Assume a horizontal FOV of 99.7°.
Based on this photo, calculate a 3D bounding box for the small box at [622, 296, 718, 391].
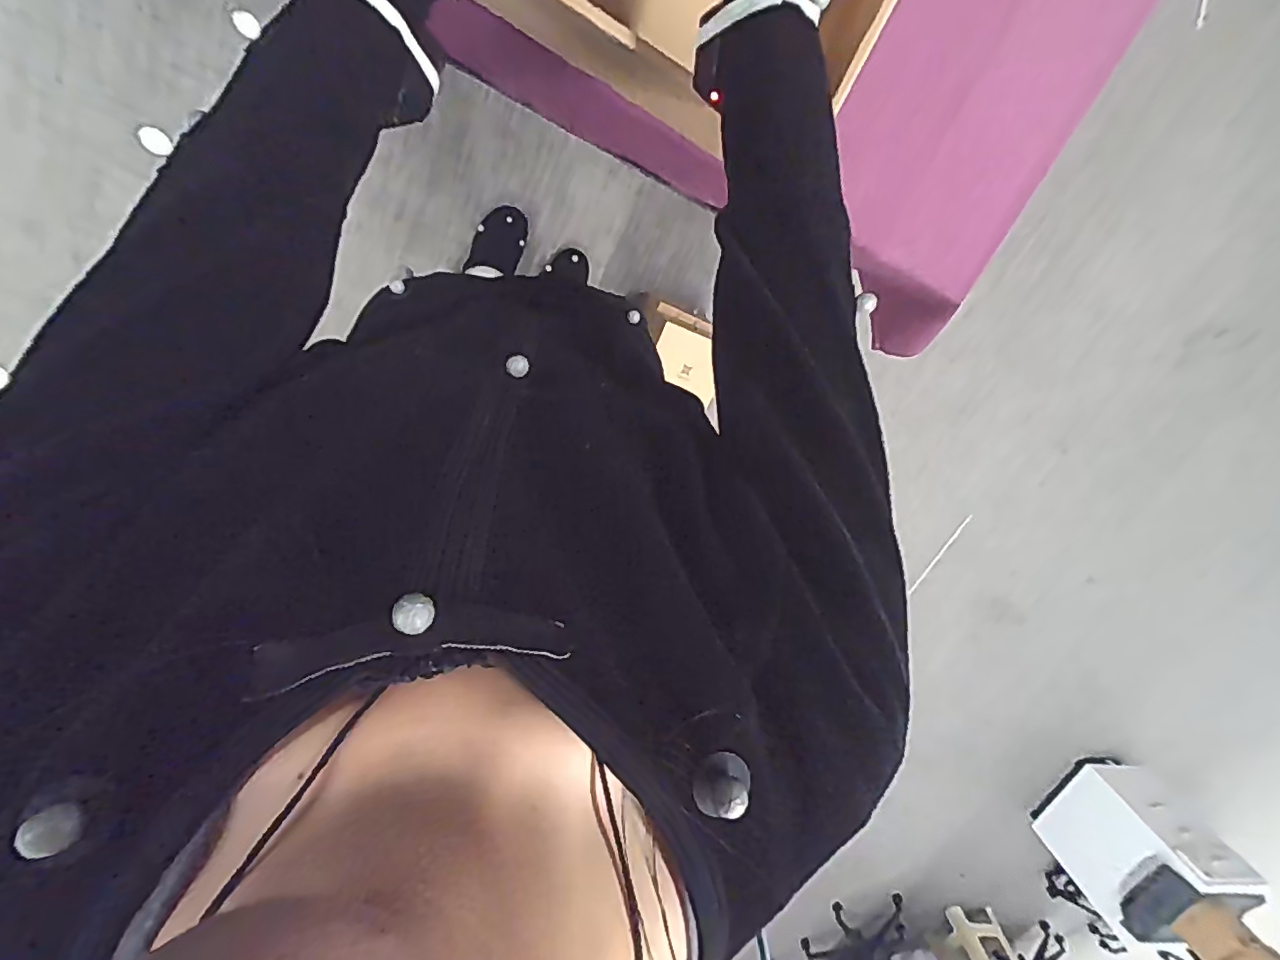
[{"bbox_3d":[0.069,-0.353,1.377,0.179,0.176,0.168,20,111,-18],"label":"small box"}]
